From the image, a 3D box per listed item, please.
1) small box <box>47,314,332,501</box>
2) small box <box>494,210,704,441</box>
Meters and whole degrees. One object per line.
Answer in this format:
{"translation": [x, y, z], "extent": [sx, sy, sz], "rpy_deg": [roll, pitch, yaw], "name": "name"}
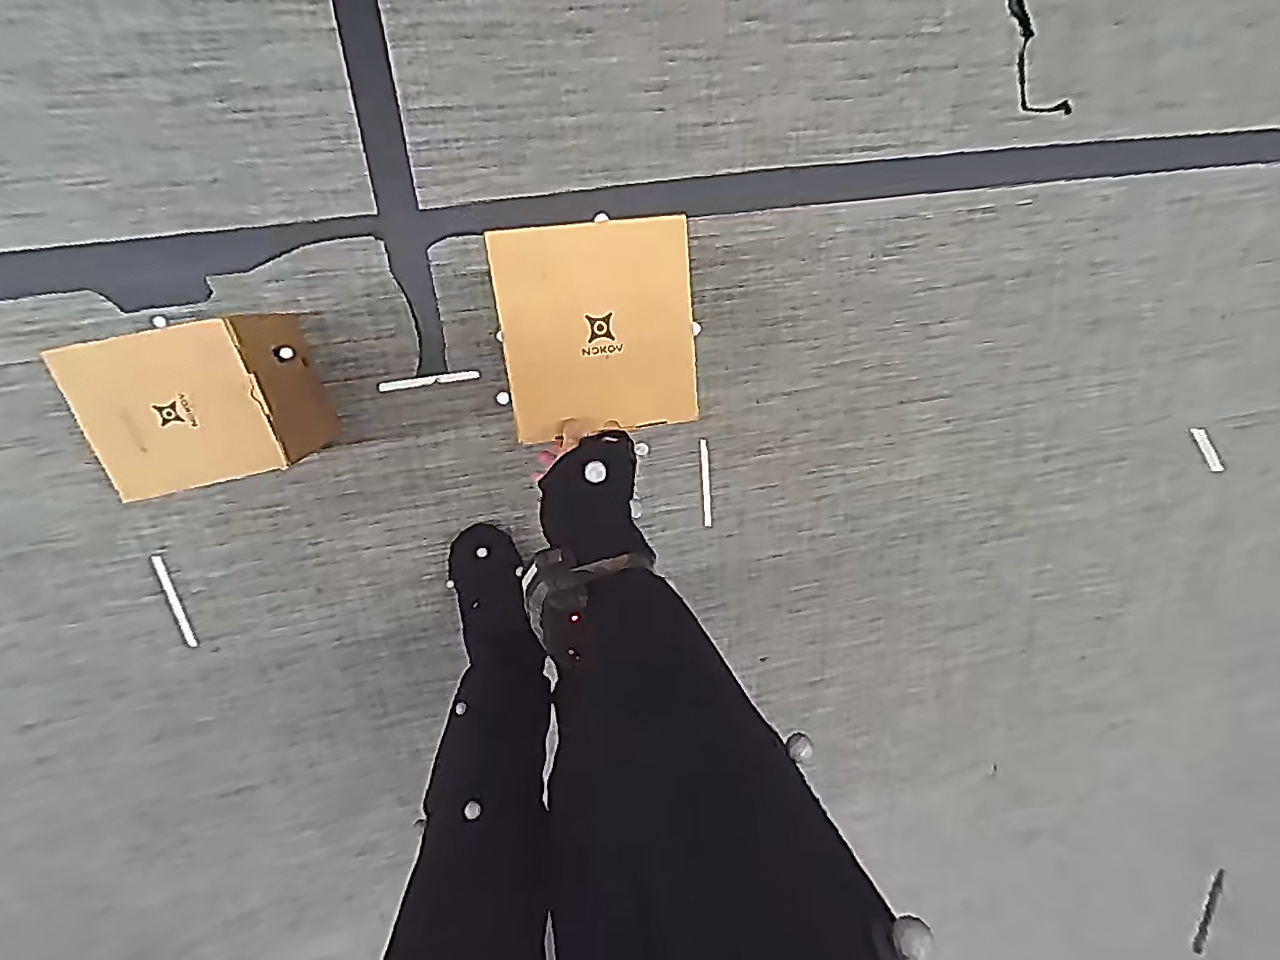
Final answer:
{"translation": [-0.493, -0.096, 0.634], "extent": [0.179, 0.176, 0.168], "rpy_deg": [-14, 109, -5], "name": "small box"}
{"translation": [-0.044, -0.151, 0.530], "extent": [0.168, 0.176, 0.179], "rpy_deg": [-9, 111, -9], "name": "small box"}
